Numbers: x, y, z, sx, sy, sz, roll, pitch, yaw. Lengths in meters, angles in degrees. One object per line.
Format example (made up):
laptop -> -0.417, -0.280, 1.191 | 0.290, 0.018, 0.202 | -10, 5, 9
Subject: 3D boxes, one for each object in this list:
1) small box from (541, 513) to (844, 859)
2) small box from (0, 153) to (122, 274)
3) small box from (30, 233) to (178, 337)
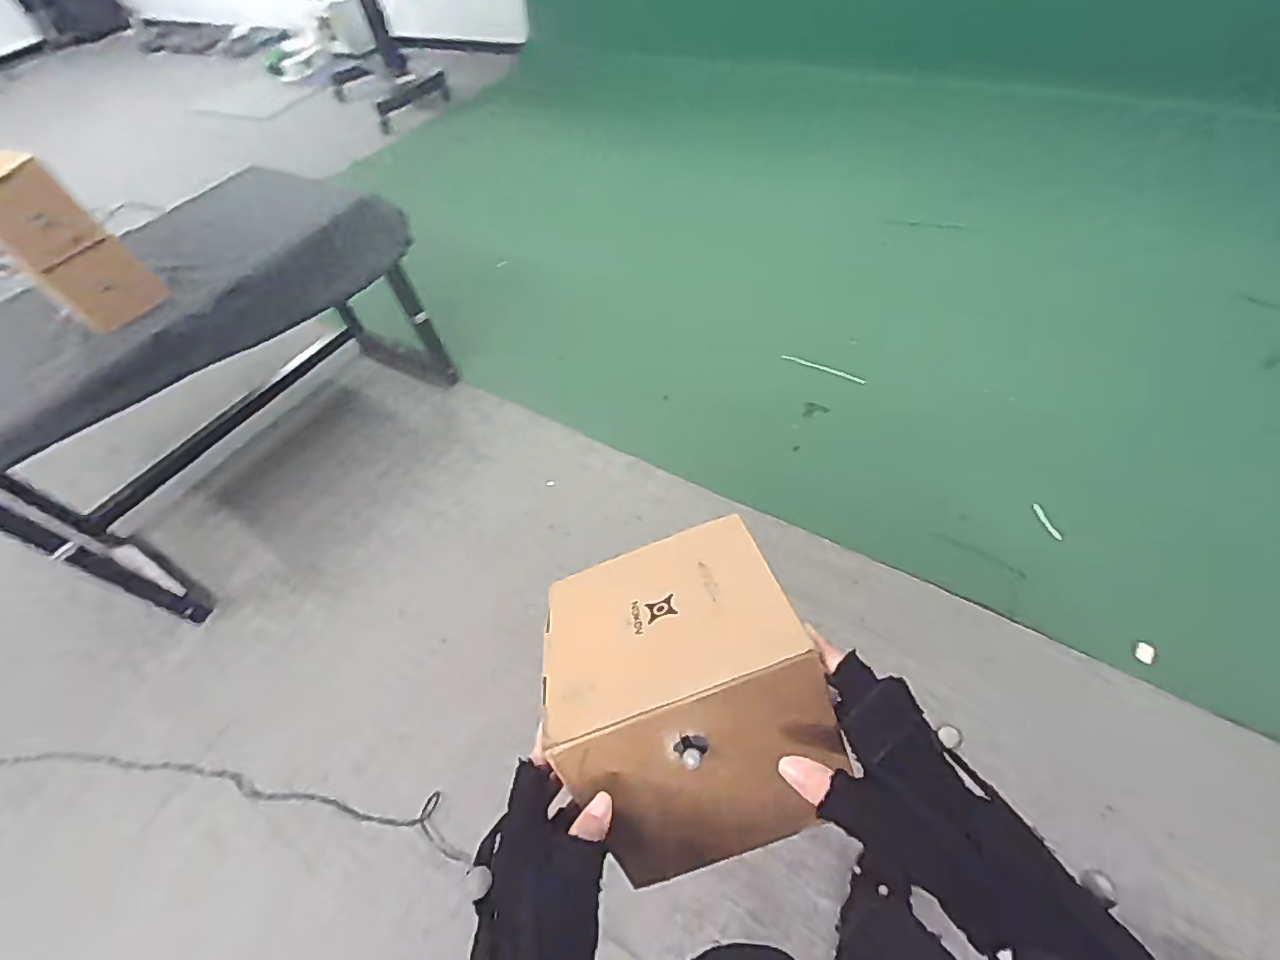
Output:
small box -> 0.038, 0.160, 0.436 | 0.179, 0.176, 0.168 | -21, 26, 2
small box -> -1.297, -0.573, 1.170 | 0.179, 0.176, 0.168 | 24, 61, 24
small box -> -1.273, -0.479, 1.302 | 0.168, 0.176, 0.179 | 24, 62, 25
